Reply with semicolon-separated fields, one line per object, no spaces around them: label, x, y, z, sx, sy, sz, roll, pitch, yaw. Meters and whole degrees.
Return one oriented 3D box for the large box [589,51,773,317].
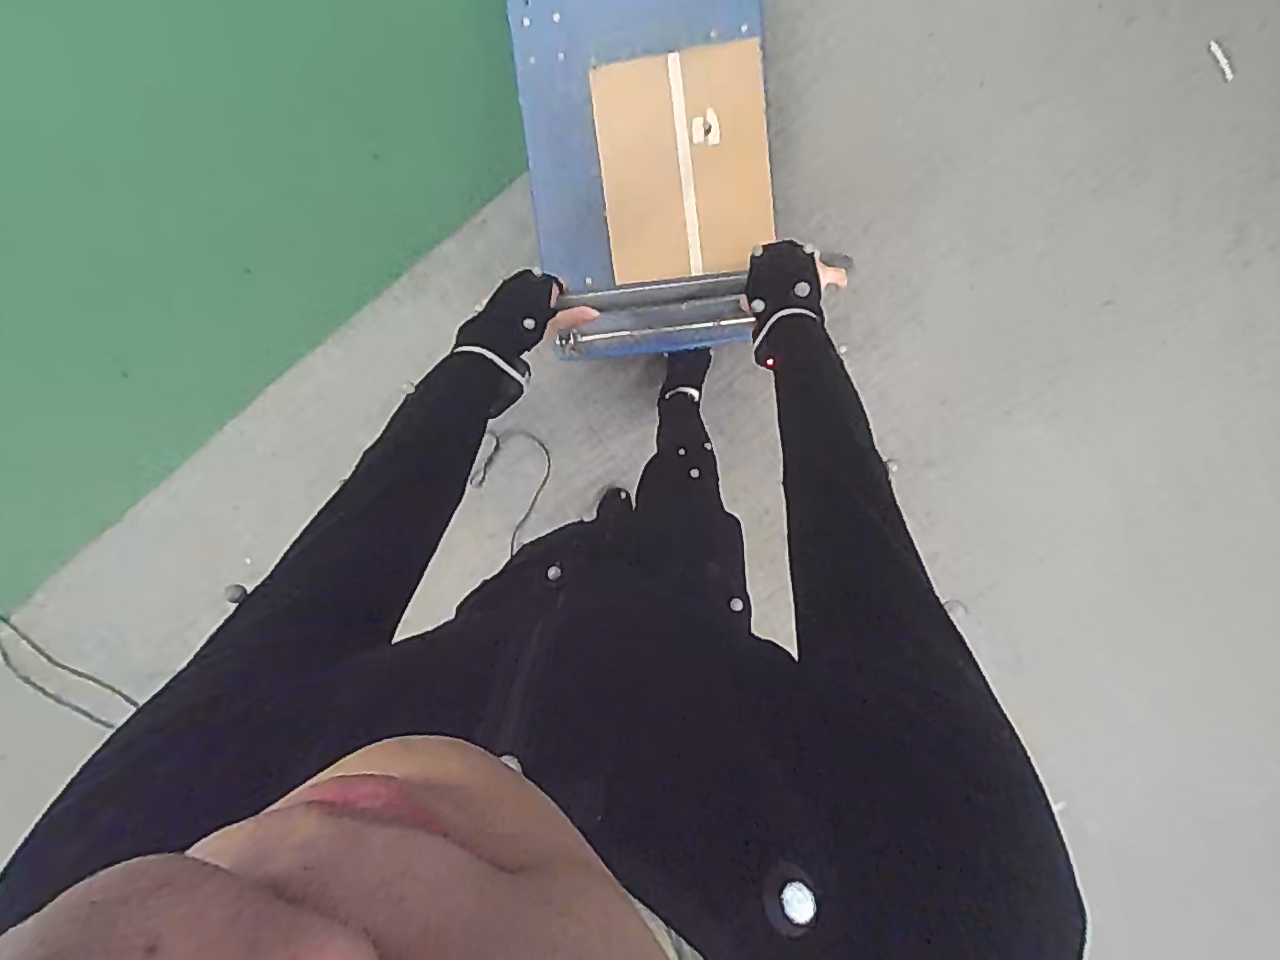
large box;0.091;-0.599;1.179;0.320;0.320;0.408;-7;99;3
